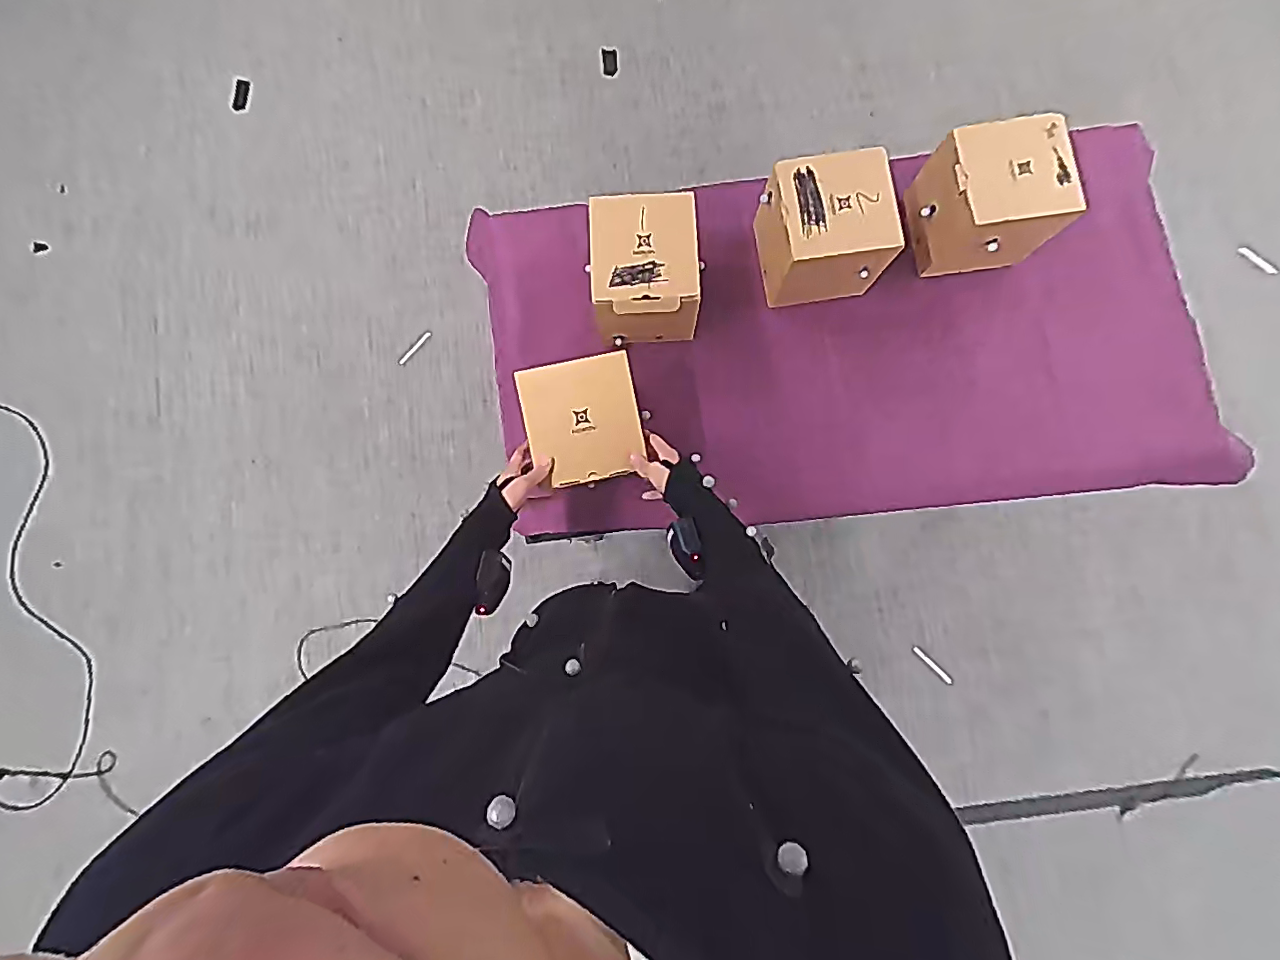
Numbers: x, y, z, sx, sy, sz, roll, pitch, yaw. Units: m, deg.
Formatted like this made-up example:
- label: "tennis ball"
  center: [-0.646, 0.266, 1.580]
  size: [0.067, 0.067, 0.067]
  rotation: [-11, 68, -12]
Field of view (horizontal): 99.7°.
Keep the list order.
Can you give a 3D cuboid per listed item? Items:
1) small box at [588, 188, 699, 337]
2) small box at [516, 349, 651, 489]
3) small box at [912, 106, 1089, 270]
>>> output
- label: "small box"
  center: [0.007, -0.345, 0.892]
  size: [0.168, 0.176, 0.179]
  rotation: [-3, 83, 1]
- label: "small box"
  center: [-0.083, -0.089, 0.849]
  size: [0.168, 0.176, 0.179]
  rotation: [-12, 93, 0]
- label: "small box"
  center: [0.574, -0.468, 0.892]
  size: [0.179, 0.176, 0.168]
  rotation: [-8, 85, 1]
